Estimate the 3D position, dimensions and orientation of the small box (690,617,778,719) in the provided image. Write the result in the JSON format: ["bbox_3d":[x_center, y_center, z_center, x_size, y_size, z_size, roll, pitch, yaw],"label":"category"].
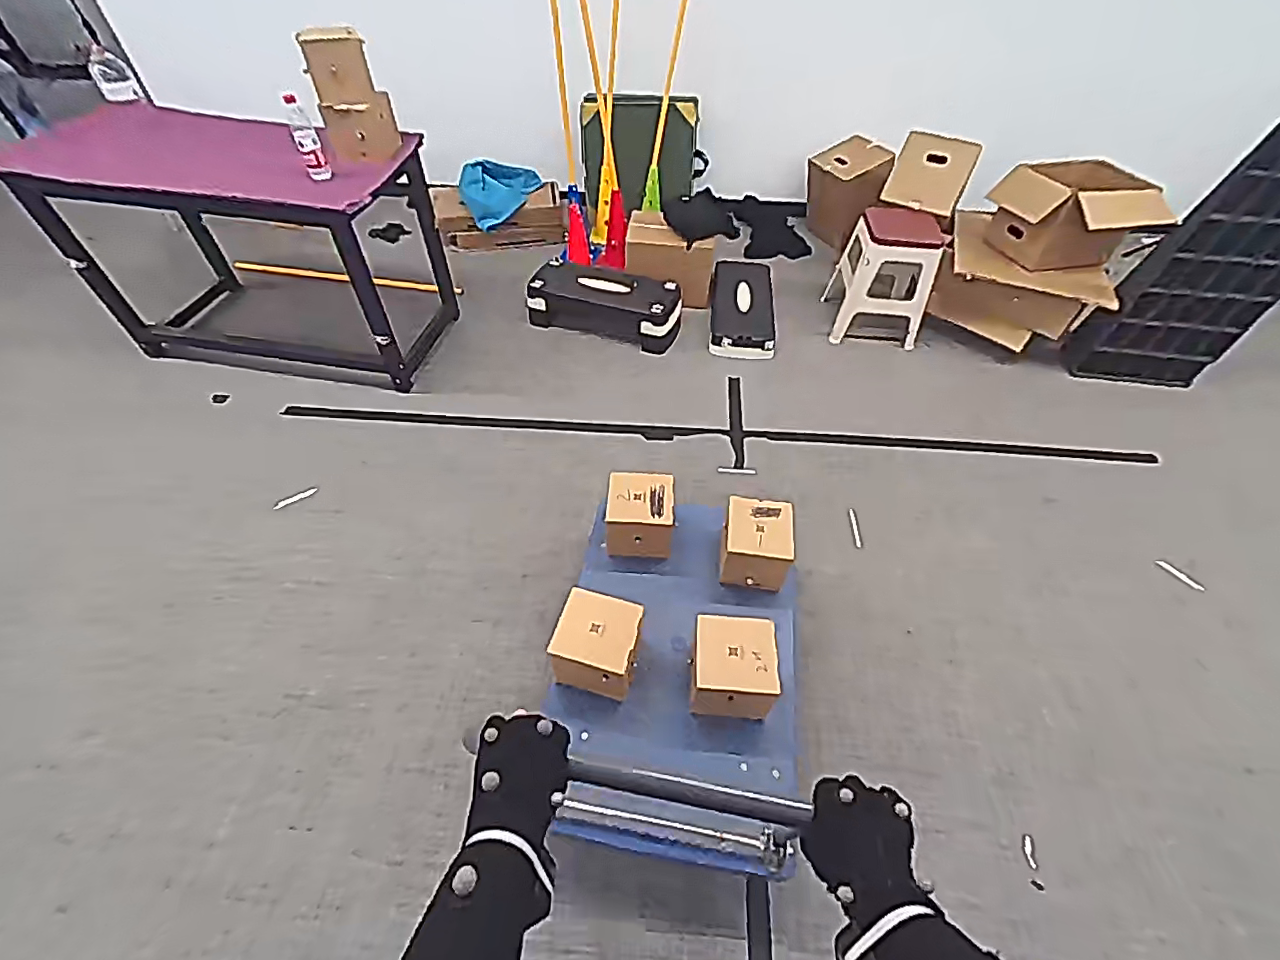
[{"bbox_3d":[0.206,0.429,1.227,0.179,0.176,0.168,4,50,2],"label":"small box"}]

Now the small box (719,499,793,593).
[{"bbox_3d":[0.306,0.176,1.440,0.168,0.176,0.179,7,51,5],"label":"small box"}]

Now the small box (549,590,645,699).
[{"bbox_3d":[-0.096,0.385,1.256,0.179,0.176,0.168,14,50,8],"label":"small box"}]
